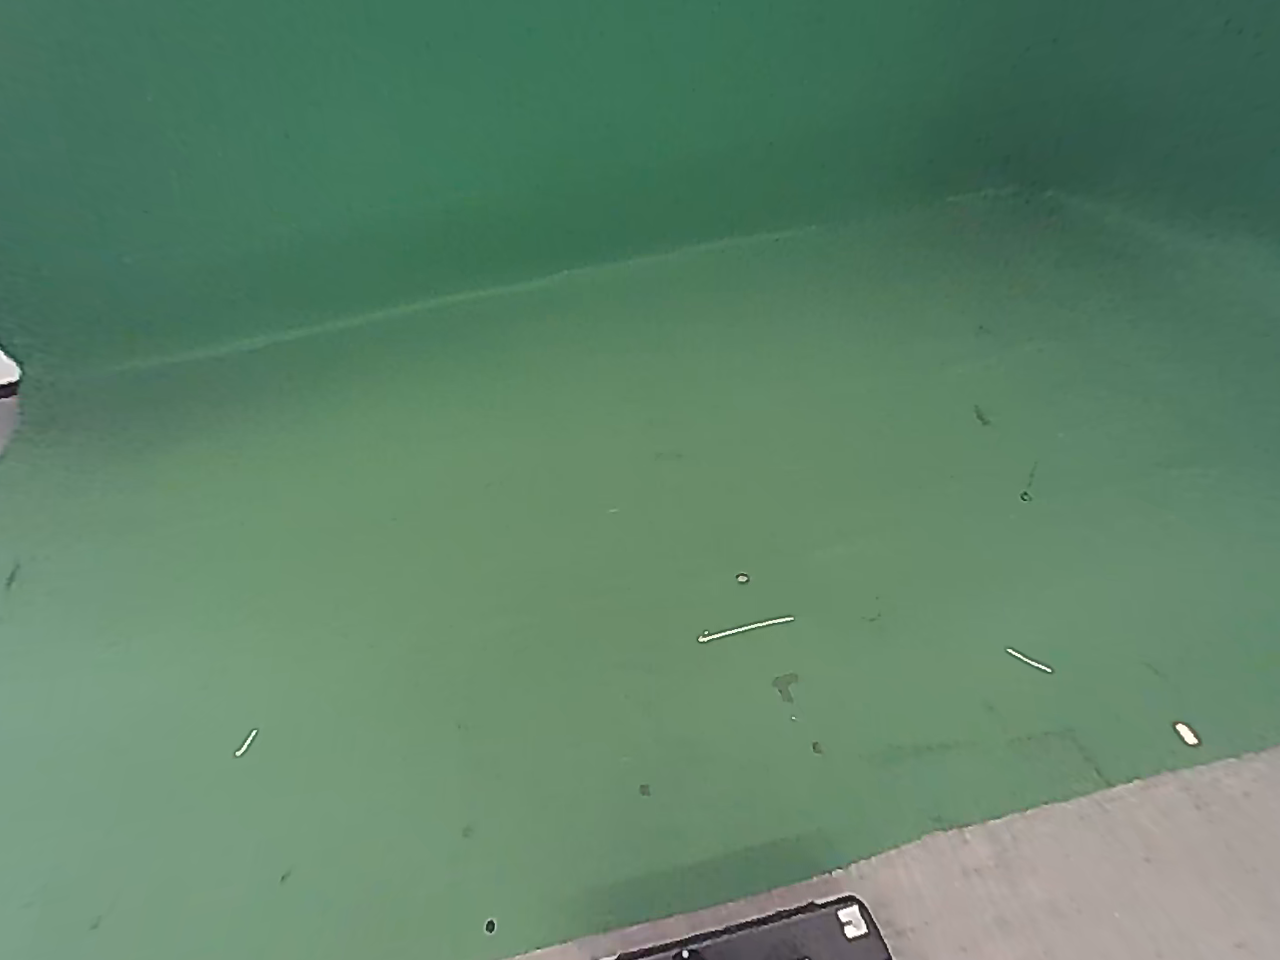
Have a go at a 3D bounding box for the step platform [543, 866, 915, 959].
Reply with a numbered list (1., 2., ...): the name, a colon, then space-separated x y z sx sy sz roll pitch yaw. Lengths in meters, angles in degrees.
1. step platform: 0.158 0.955 0.982 0.684 0.204 0.286 -14 51 -3
